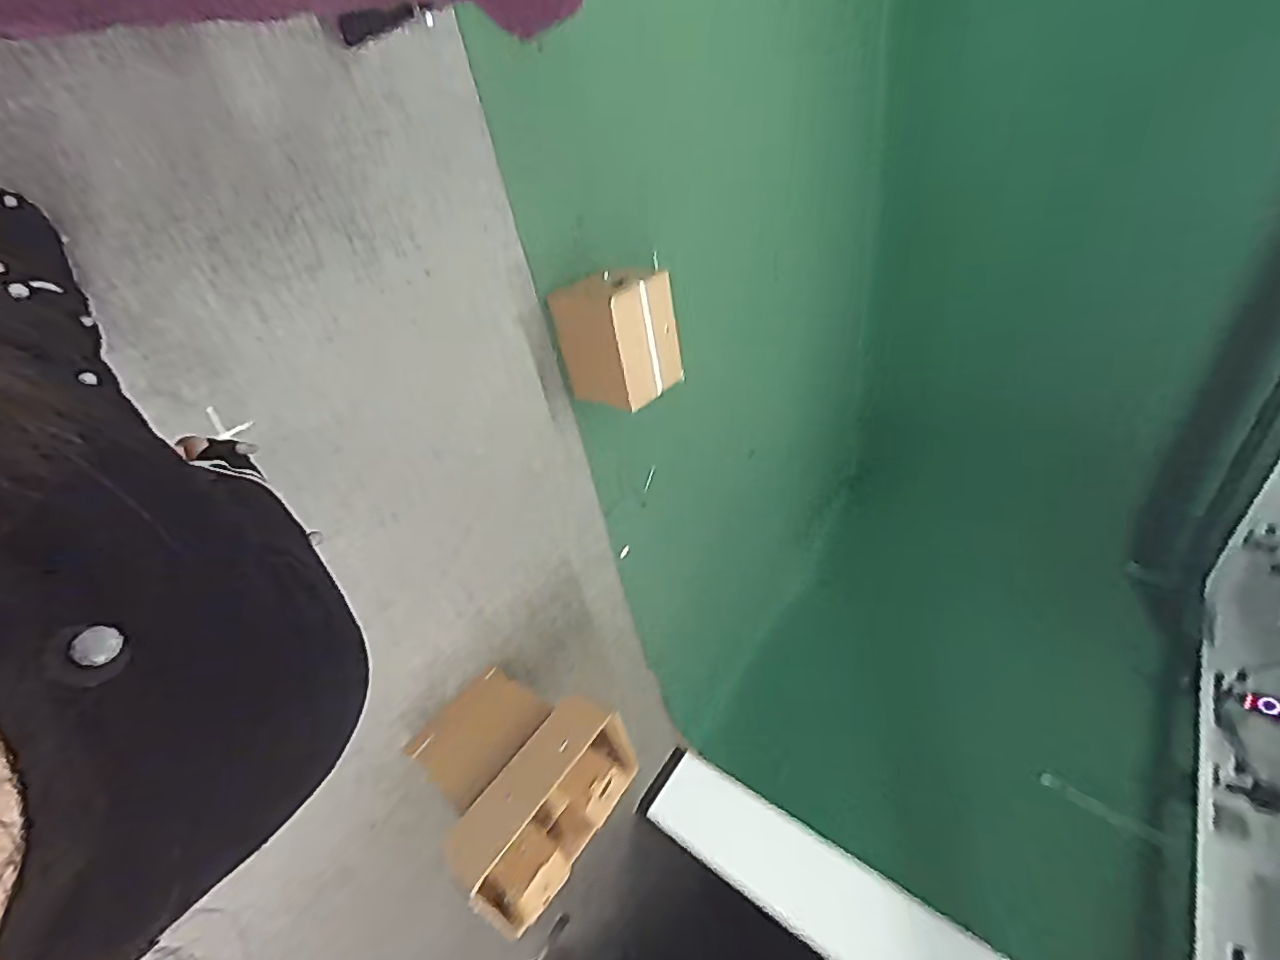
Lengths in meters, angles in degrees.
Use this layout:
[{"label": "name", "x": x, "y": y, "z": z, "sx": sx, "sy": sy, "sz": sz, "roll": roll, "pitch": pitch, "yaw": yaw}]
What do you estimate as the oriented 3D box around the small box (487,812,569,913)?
[{"label": "small box", "x": -0.354, "y": 1.194, "z": 1.703, "sx": 0.168, "sy": 0.176, "sz": 0.179, "roll": -36, "pitch": 130, "yaw": -38}]
